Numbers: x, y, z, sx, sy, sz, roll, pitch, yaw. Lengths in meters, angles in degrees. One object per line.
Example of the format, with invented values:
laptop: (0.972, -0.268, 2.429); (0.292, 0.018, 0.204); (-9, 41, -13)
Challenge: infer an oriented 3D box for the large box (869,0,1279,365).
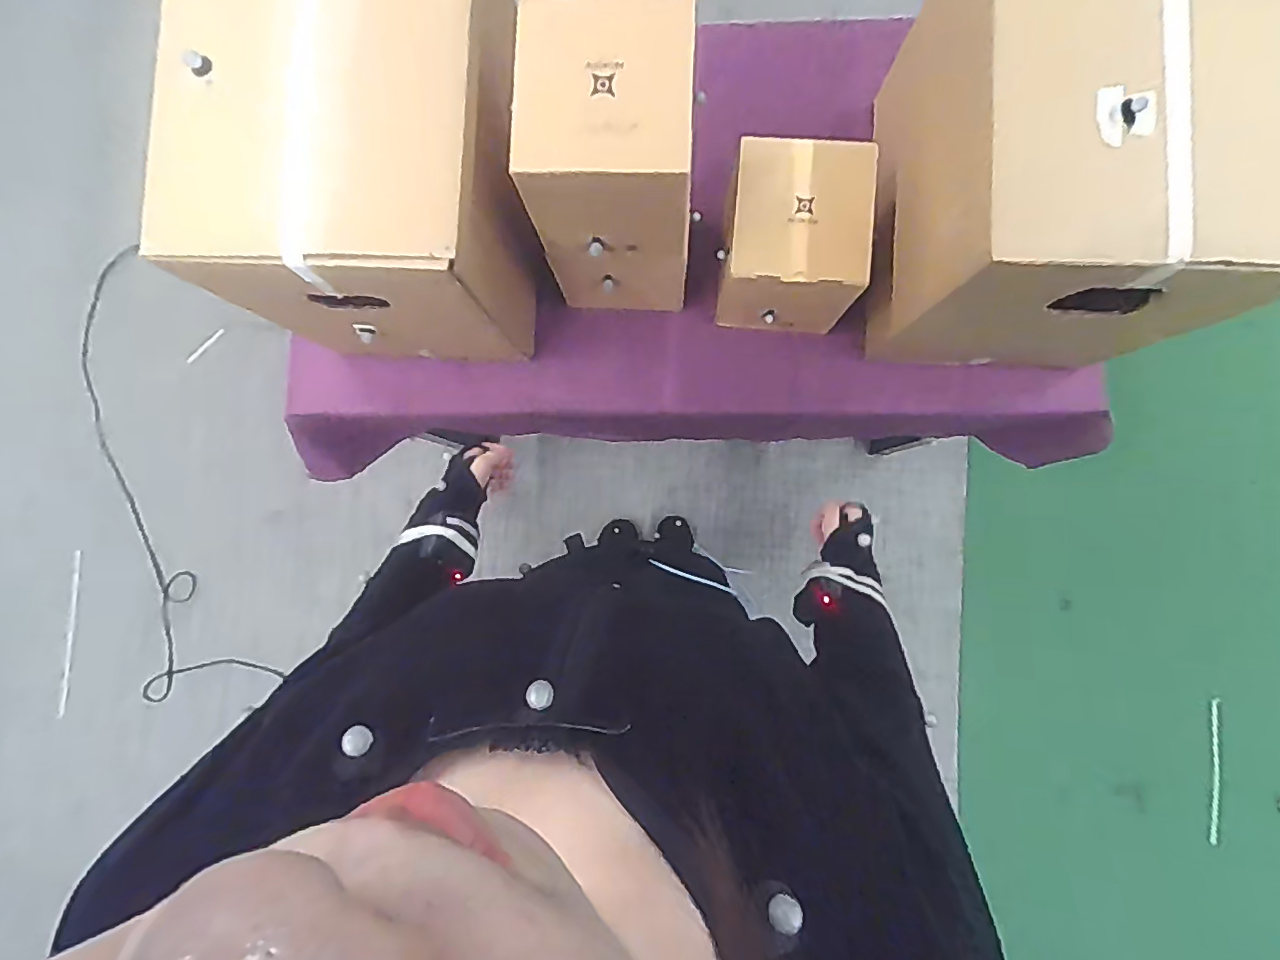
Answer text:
large box: (0.493, -0.381, 0.654); (0.320, 0.320, 0.408); (3, 88, 2)
